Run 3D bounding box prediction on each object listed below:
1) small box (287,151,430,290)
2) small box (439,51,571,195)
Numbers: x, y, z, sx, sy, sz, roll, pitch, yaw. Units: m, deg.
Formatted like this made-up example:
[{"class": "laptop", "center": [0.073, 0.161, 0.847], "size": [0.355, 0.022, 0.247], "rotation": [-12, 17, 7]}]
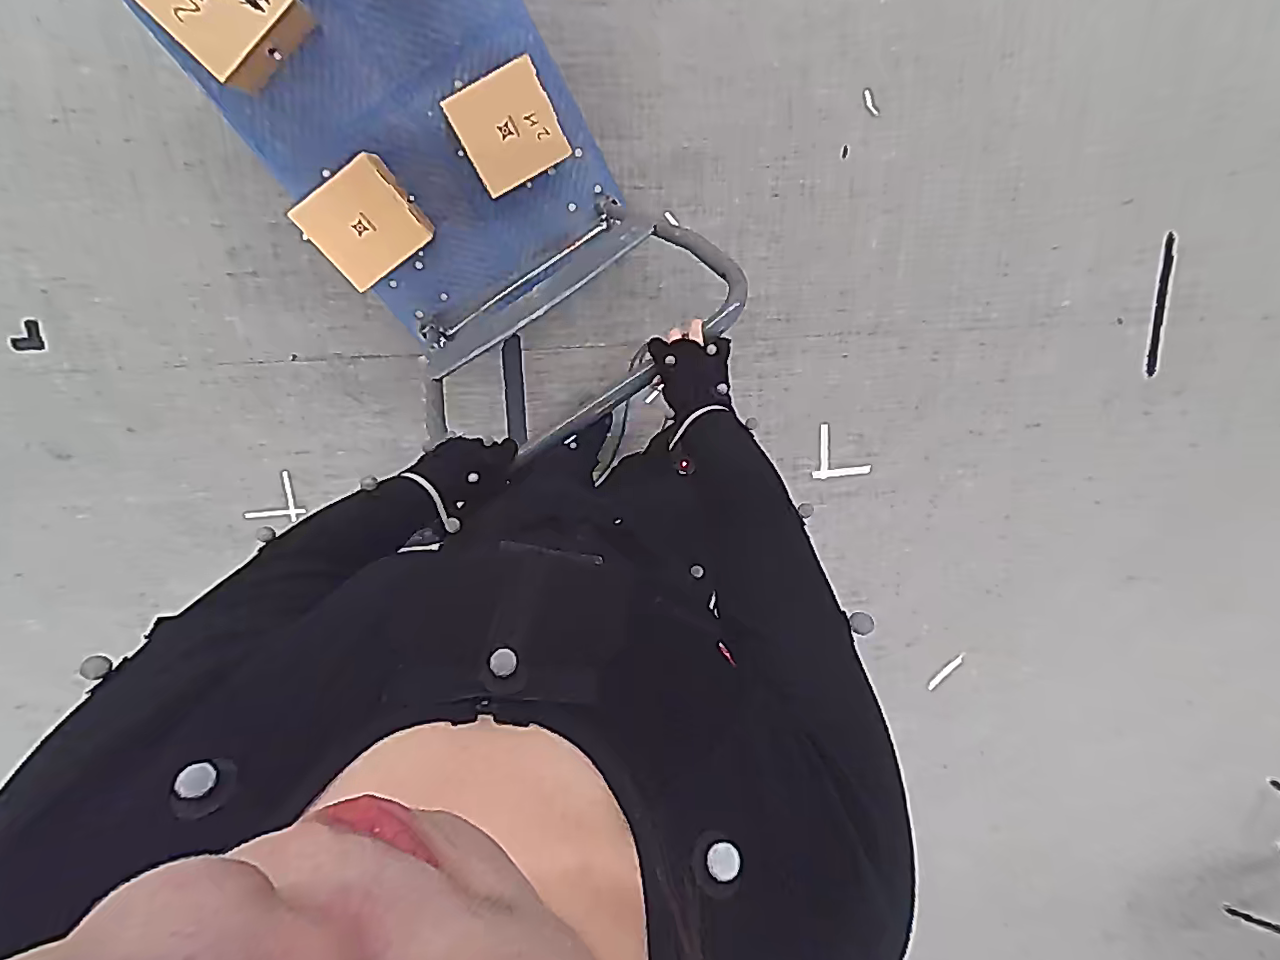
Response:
[{"class": "small box", "center": [-0.522, -0.494, 1.036], "size": [0.179, 0.176, 0.168], "rotation": [-37, 123, 3]}, {"class": "small box", "center": [-0.255, -0.666, 1.027], "size": [0.179, 0.176, 0.168], "rotation": [-30, 124, 0]}]
